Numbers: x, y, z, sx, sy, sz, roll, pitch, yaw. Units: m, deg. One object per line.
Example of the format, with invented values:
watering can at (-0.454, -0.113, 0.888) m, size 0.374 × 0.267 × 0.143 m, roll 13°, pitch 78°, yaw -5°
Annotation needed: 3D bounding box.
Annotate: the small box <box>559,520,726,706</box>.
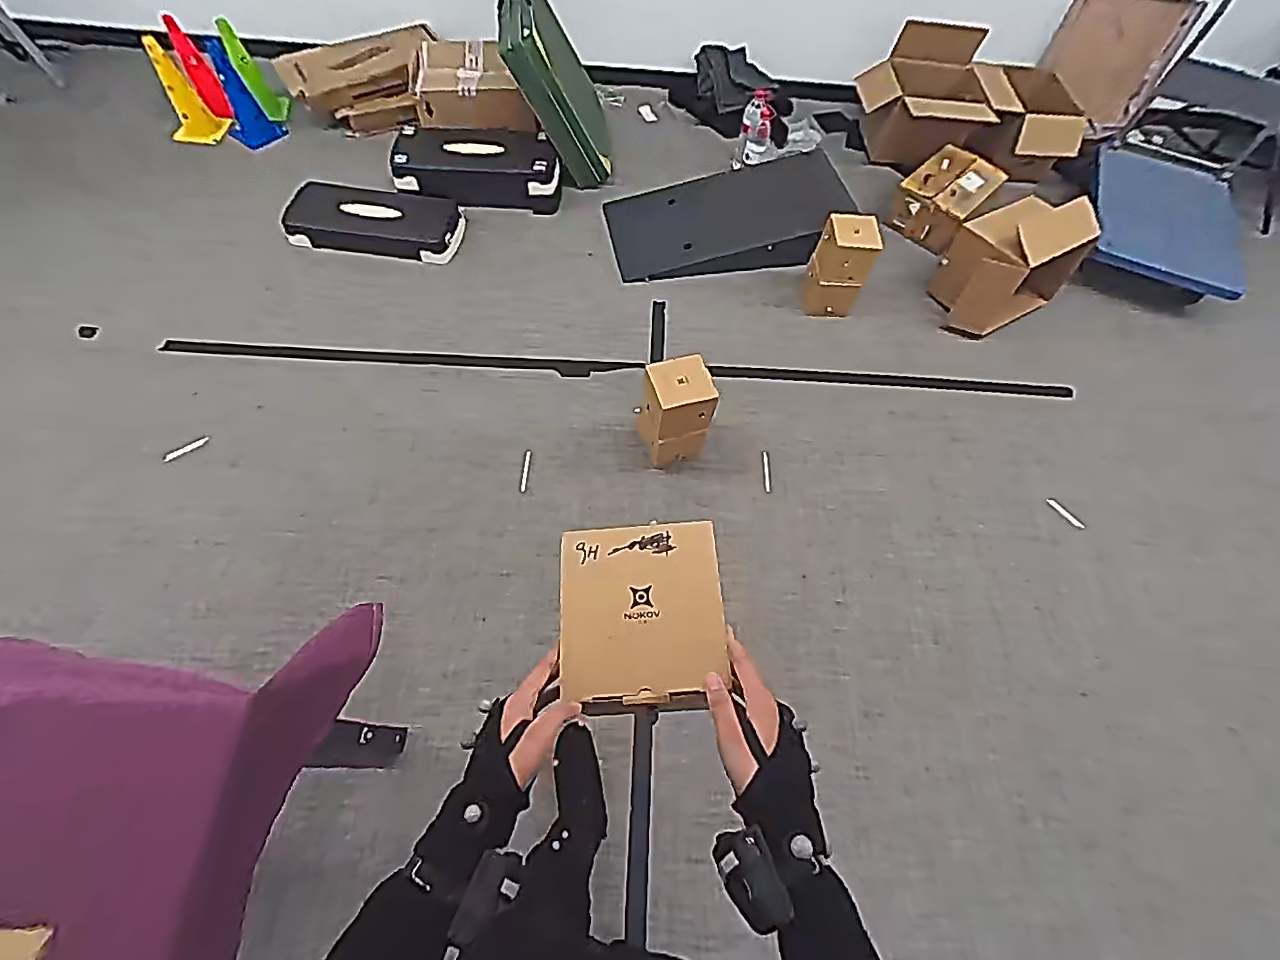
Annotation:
small box at (0.006, 0.161, 0.623) m, size 0.168 × 0.176 × 0.179 m, roll -5°, pitch 63°, yaw 3°
